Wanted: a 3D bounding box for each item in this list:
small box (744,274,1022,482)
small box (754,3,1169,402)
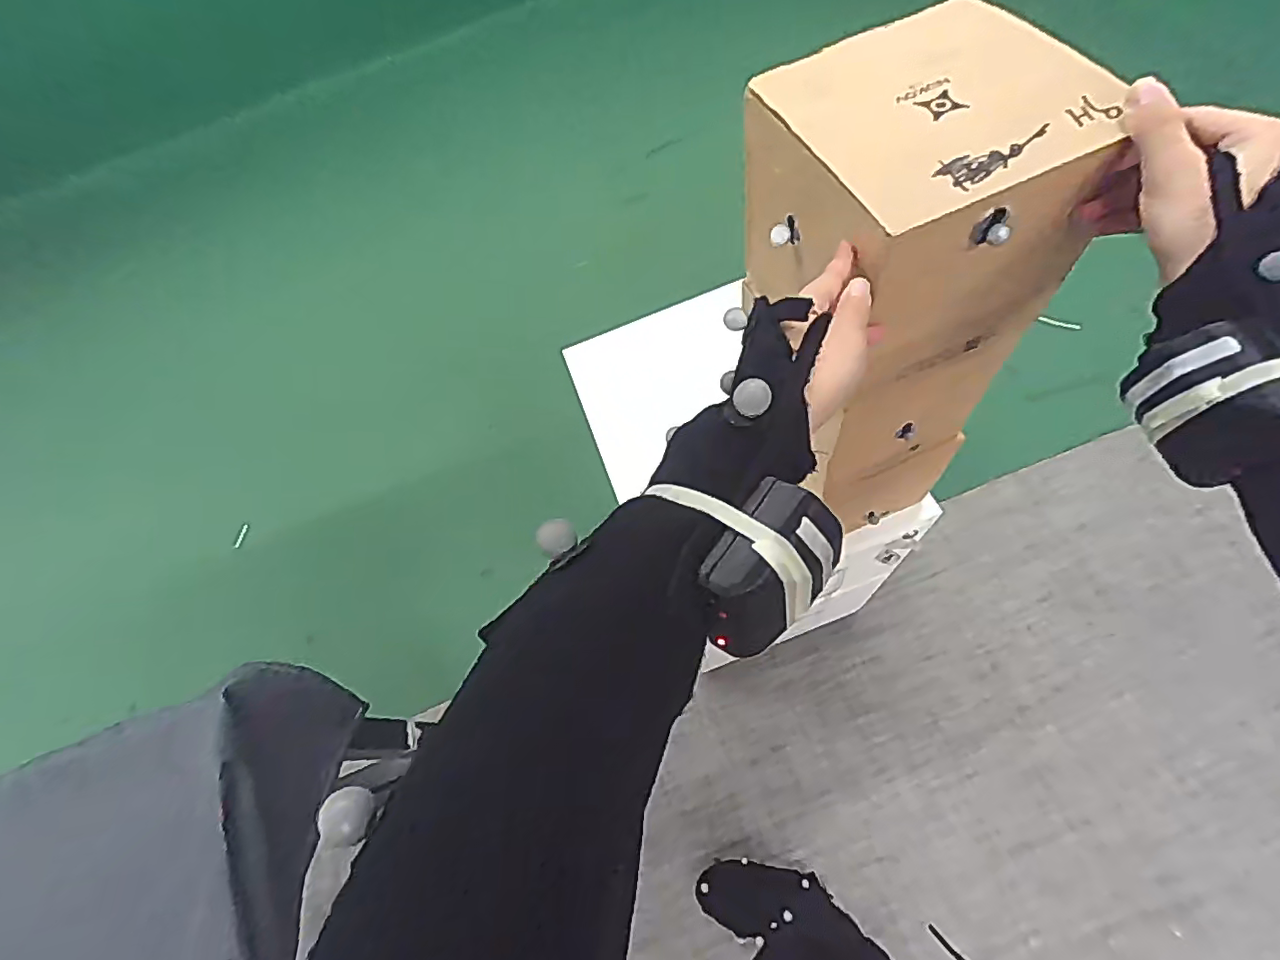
[{"bbox_3d":[0.216,-0.118,0.539,0.168,0.176,0.179,-24,62,-3],"label":"small box"},{"bbox_3d":[0.191,-0.190,0.395,0.168,0.176,0.179,-23,61,-1],"label":"small box"}]
